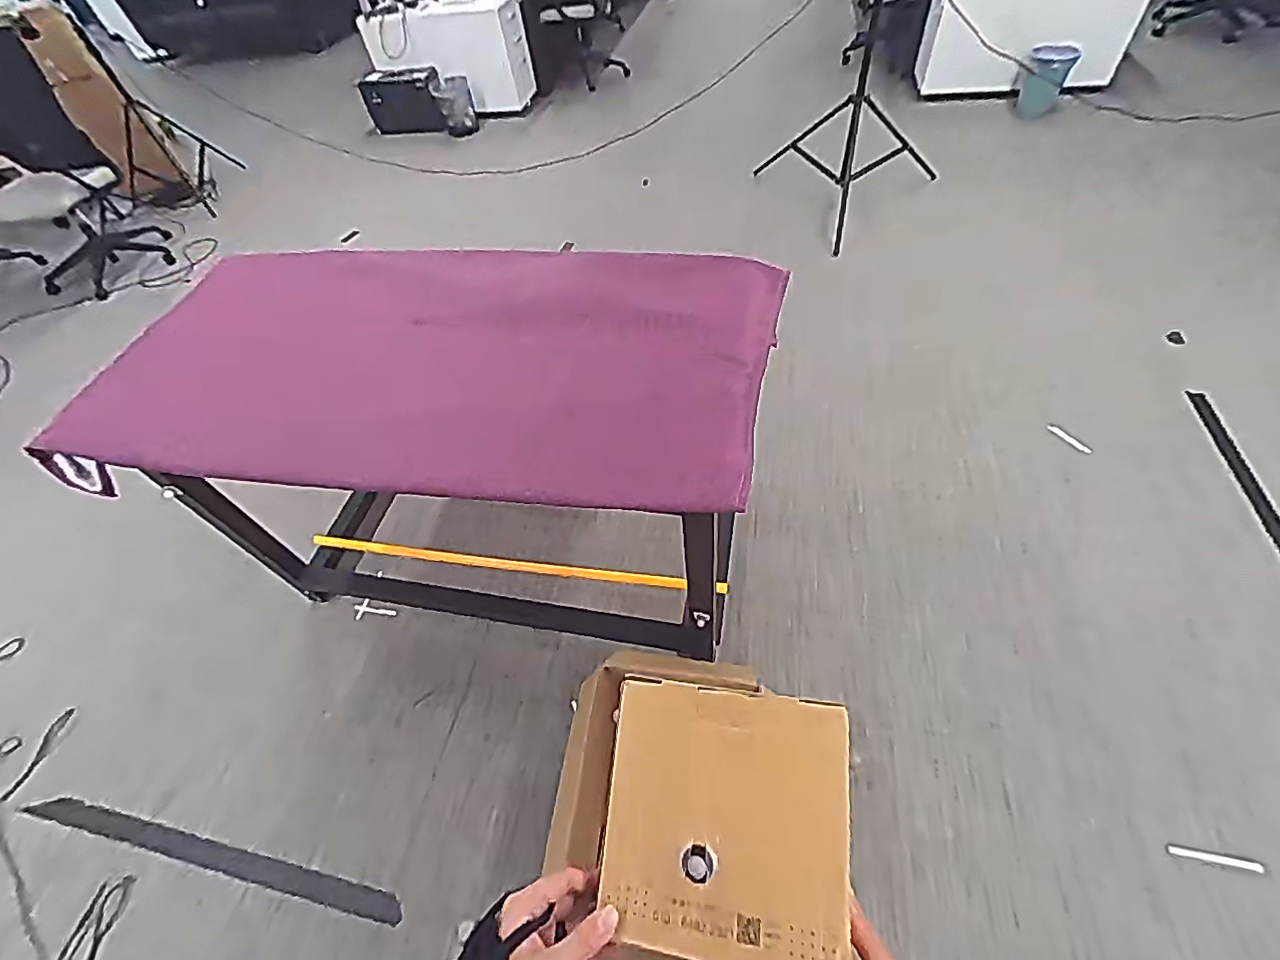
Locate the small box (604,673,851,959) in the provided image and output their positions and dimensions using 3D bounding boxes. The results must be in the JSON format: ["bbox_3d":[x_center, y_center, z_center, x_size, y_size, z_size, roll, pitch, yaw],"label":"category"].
[{"bbox_3d":[0.077,0.259,0.441,0.168,0.179,0.176,1,70,16],"label":"small box"}]
